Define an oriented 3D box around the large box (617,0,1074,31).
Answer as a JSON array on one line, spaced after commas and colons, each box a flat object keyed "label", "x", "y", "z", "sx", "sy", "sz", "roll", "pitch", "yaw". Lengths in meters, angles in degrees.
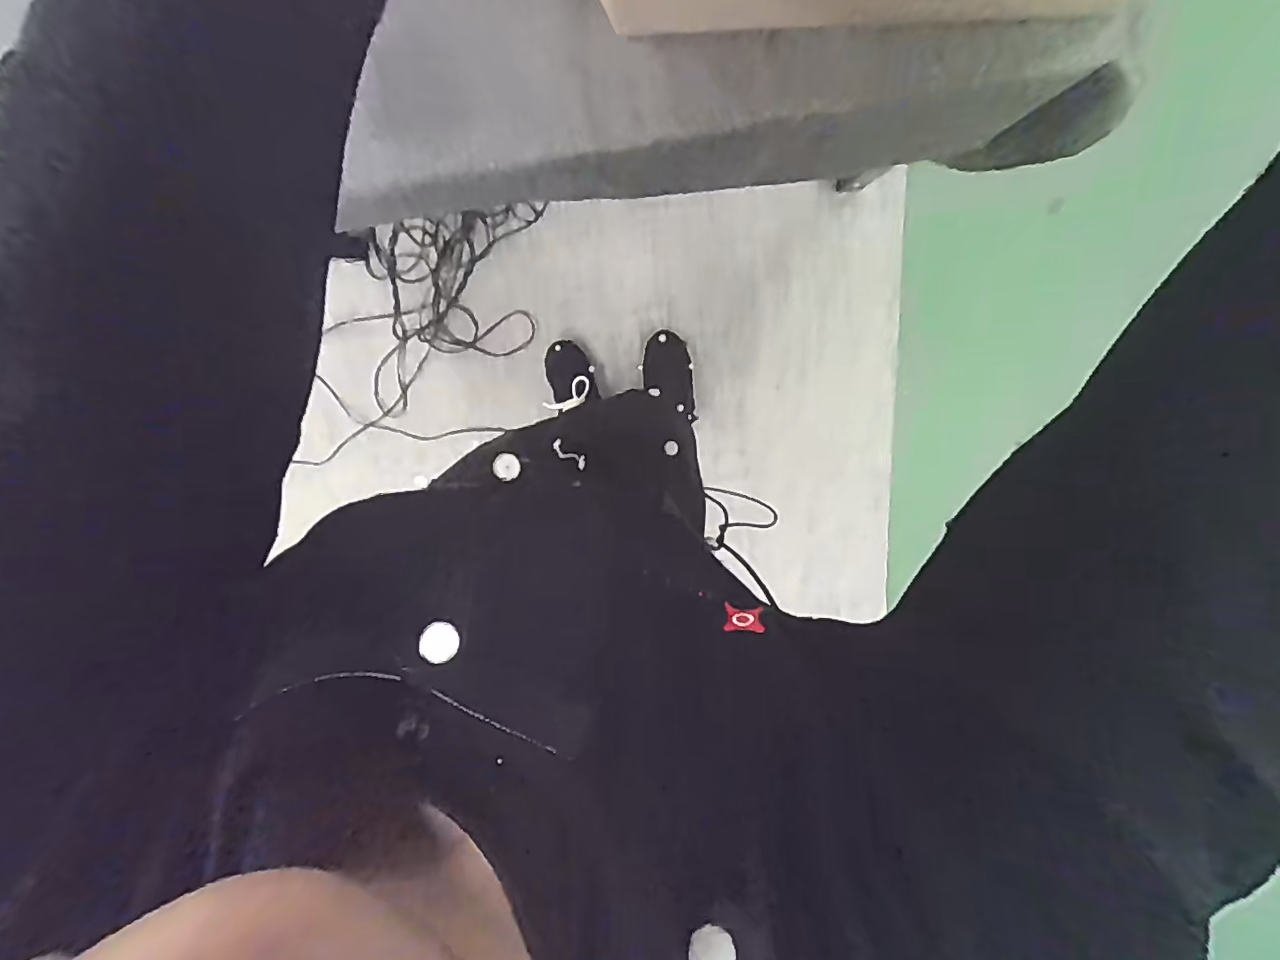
[{"label": "large box", "x": 0.163, "y": -0.471, "z": 0.254, "sx": 0.408, "sy": 0.320, "sz": 0.320, "roll": 2, "pitch": 112, "yaw": 6}]
